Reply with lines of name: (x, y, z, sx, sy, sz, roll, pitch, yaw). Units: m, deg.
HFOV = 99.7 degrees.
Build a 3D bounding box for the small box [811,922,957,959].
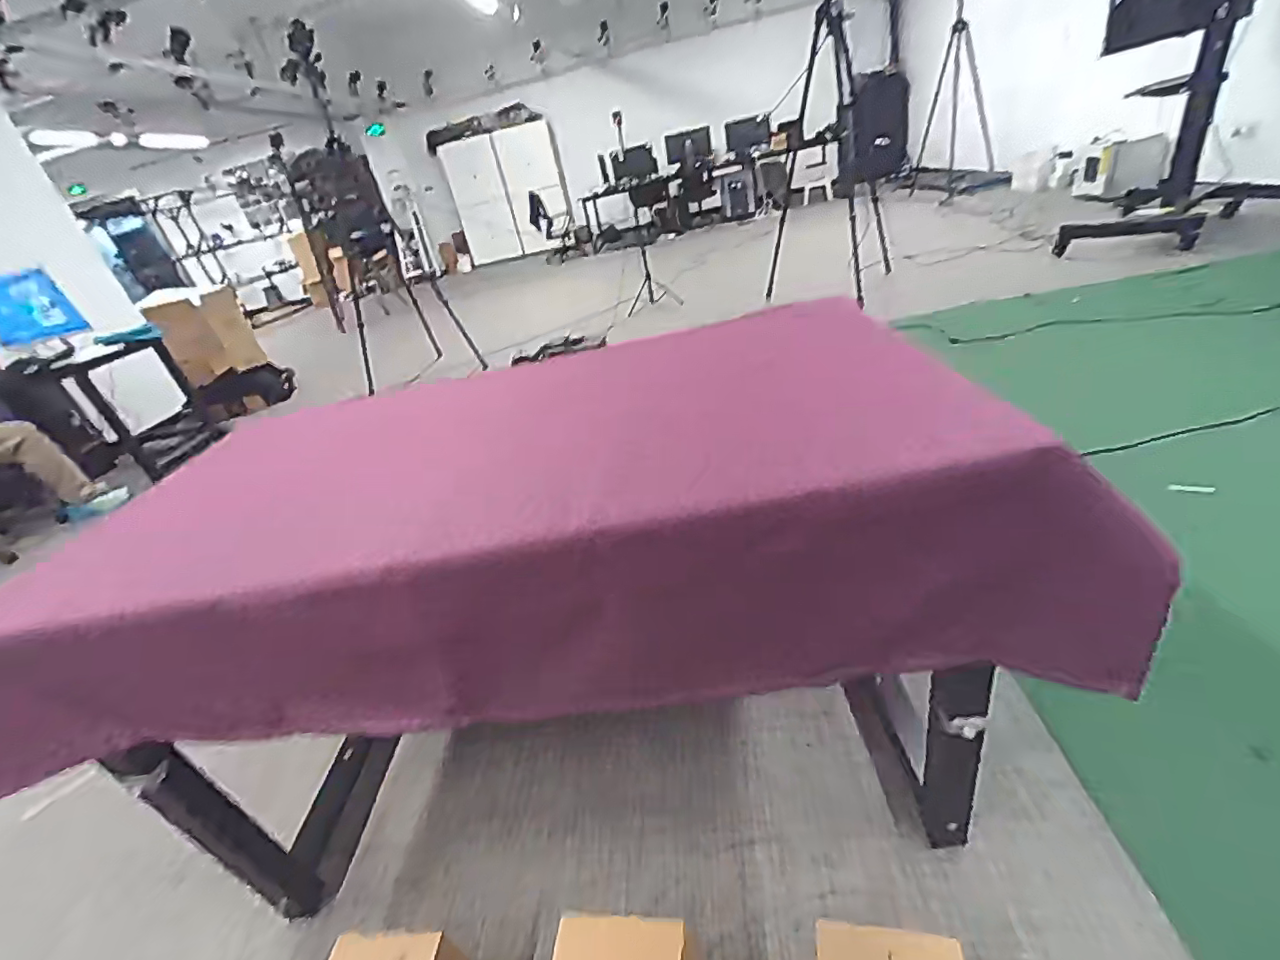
small box: (0.295, 0.669, 0.634, 0.168, 0.176, 0.179, -5, 30, 16)
